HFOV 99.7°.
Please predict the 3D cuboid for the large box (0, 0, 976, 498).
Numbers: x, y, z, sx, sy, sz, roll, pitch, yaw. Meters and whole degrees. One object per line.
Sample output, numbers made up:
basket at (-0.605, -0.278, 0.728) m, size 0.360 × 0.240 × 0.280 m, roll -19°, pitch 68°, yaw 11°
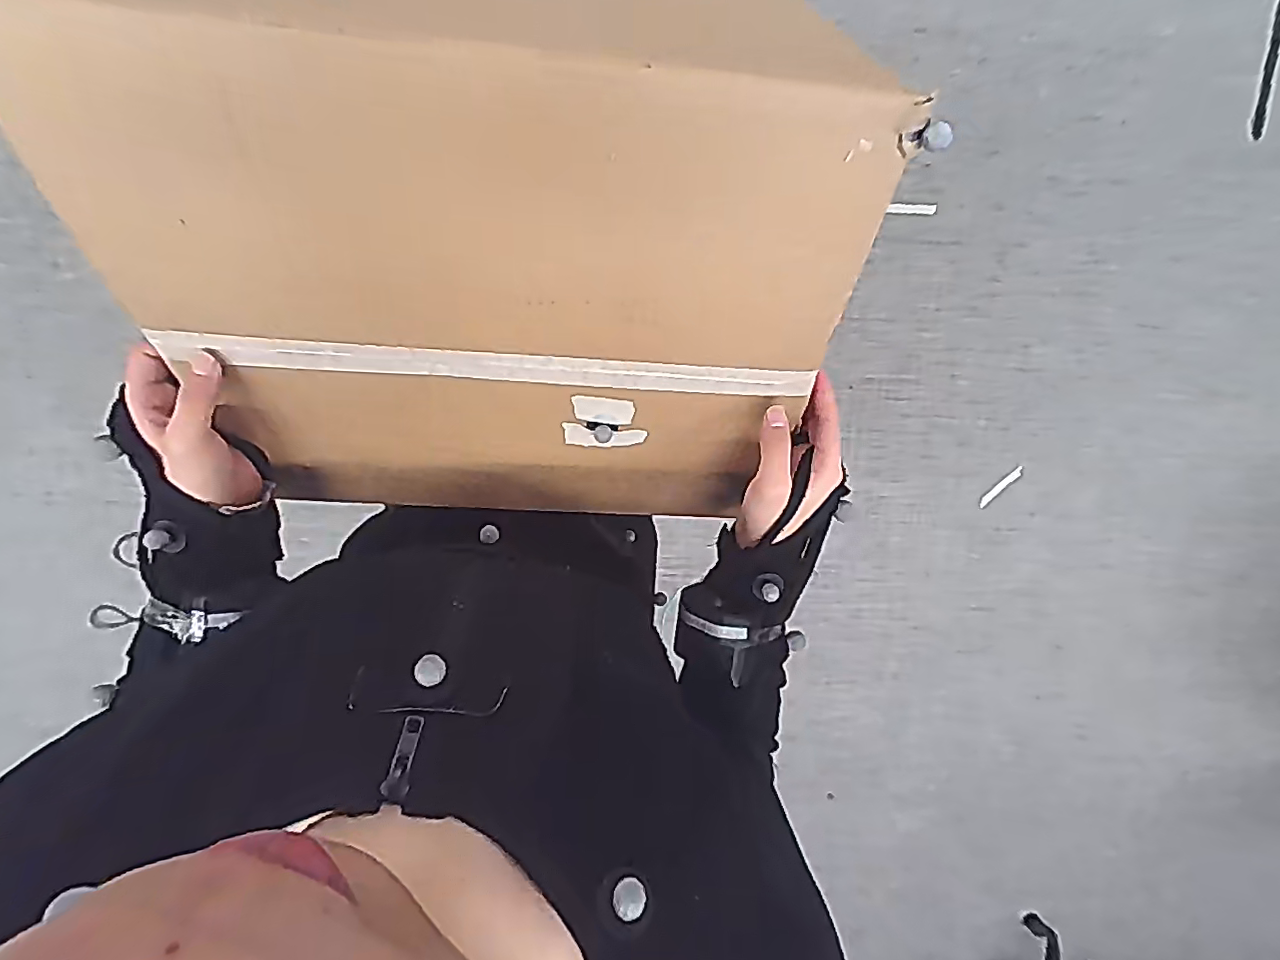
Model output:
large box at (-0.078, -0.202, 0.413) m, size 0.408 × 0.320 × 0.320 m, roll 2°, pitch 140°, yaw -6°
